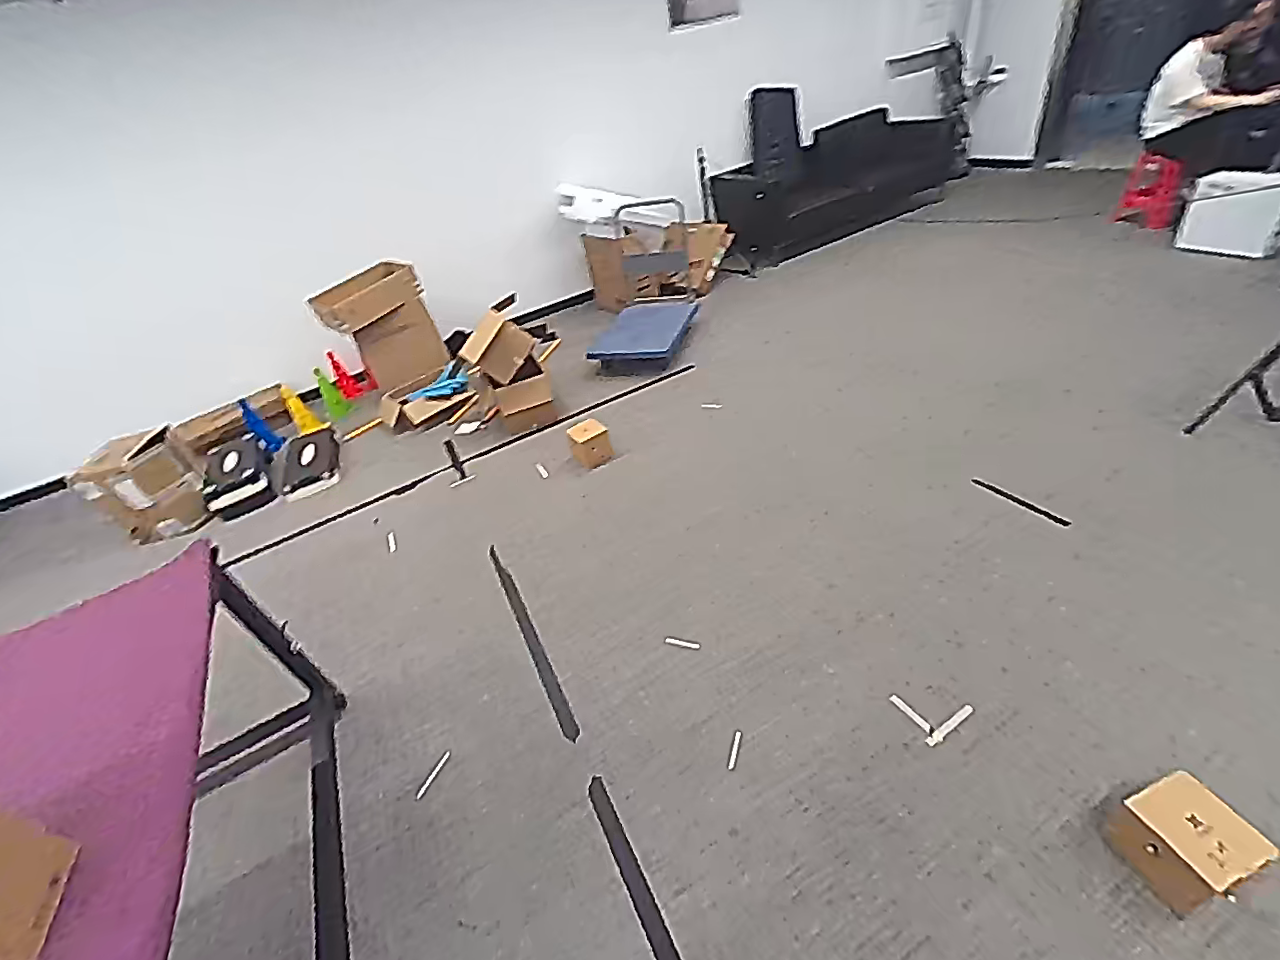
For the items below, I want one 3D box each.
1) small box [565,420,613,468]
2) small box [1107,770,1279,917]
[{"bbox_3d":[-0.262,-0.182,2.832,0.168,0.176,0.179,-30,39,-22],"label":"small box"},{"bbox_3d":[1.130,0.750,1.119,0.168,0.176,0.179,-21,37,-9],"label":"small box"}]
